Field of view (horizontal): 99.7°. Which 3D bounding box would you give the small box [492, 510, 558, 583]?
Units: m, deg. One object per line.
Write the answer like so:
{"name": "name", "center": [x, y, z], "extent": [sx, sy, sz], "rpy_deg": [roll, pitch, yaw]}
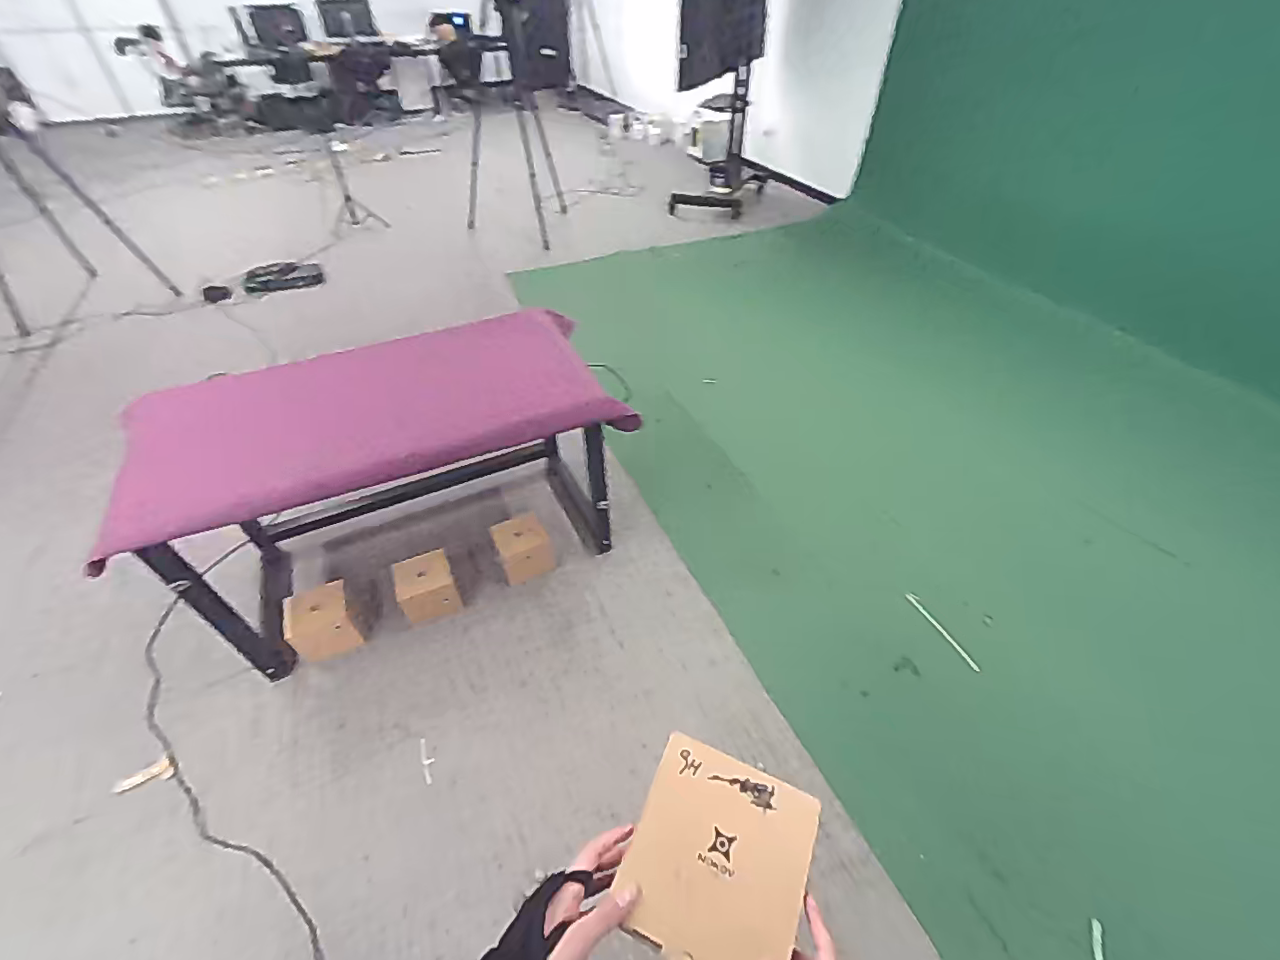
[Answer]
{"name": "small box", "center": [-0.416, 0.246, 1.970], "extent": [0.179, 0.176, 0.168], "rpy_deg": [-21, 48, -19]}

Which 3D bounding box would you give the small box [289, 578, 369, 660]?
{"name": "small box", "center": [-1.015, 0.457, 1.767], "extent": [0.179, 0.176, 0.168], "rpy_deg": [-19, 47, -18]}

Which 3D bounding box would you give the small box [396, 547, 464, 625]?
{"name": "small box", "center": [-0.716, 0.365, 1.856], "extent": [0.179, 0.176, 0.168], "rpy_deg": [-19, 47, -16]}
